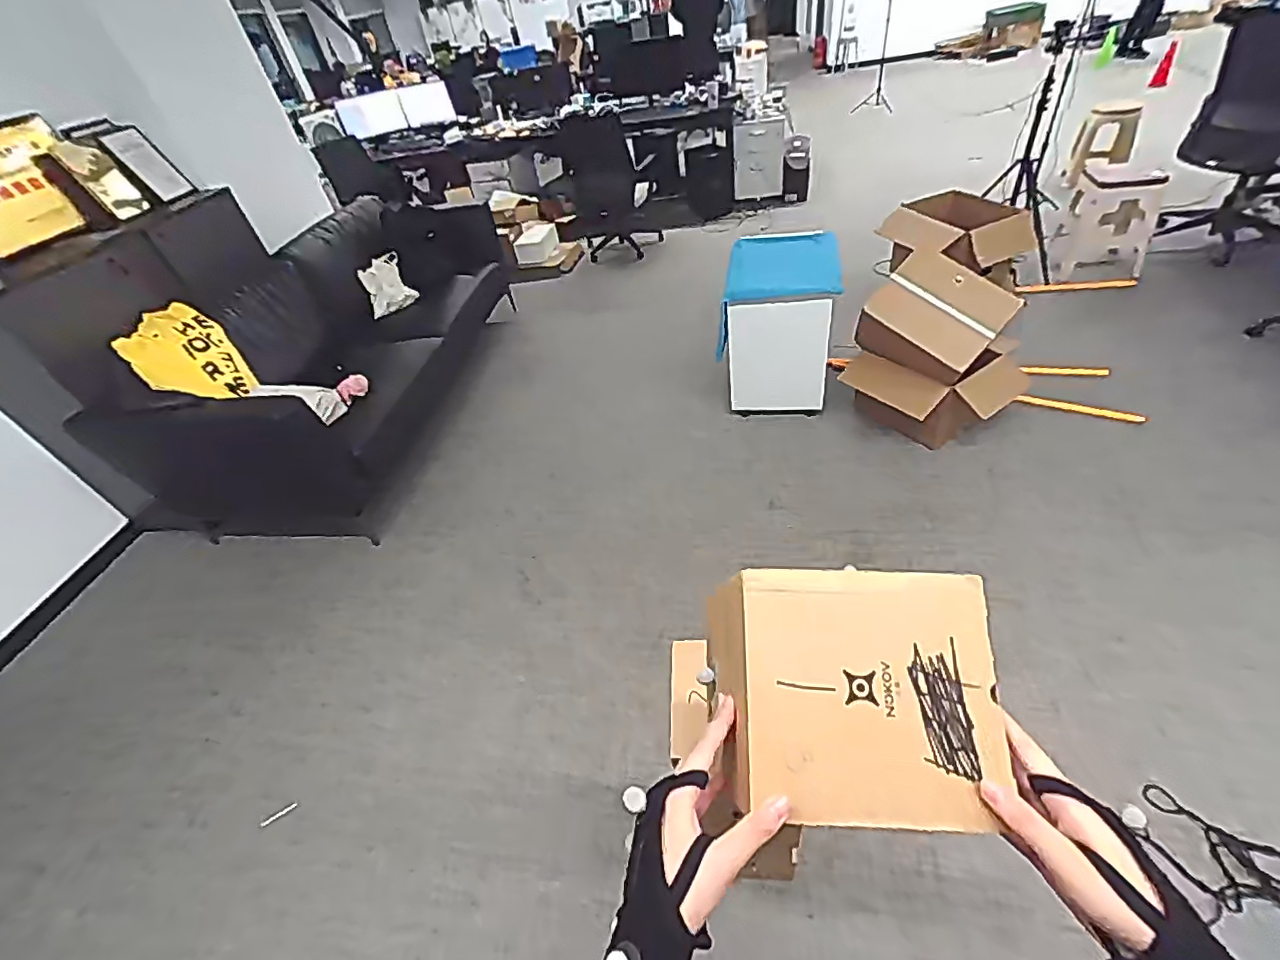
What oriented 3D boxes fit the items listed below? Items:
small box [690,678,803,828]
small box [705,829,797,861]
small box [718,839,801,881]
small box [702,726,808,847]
[{"bbox_3d":[0.175,0.452,0.900,0.168,0.176,0.179,-4,44,11],"label":"small box"},{"bbox_3d":[0.234,0.676,1.130,0.179,0.176,0.168,-2,44,12],"label":"small box"},{"bbox_3d":[0.272,0.795,1.236,0.179,0.176,0.168,-2,43,11],"label":"small box"},{"bbox_3d":[0.209,0.567,1.010,0.179,0.176,0.168,-4,43,10],"label":"small box"}]
